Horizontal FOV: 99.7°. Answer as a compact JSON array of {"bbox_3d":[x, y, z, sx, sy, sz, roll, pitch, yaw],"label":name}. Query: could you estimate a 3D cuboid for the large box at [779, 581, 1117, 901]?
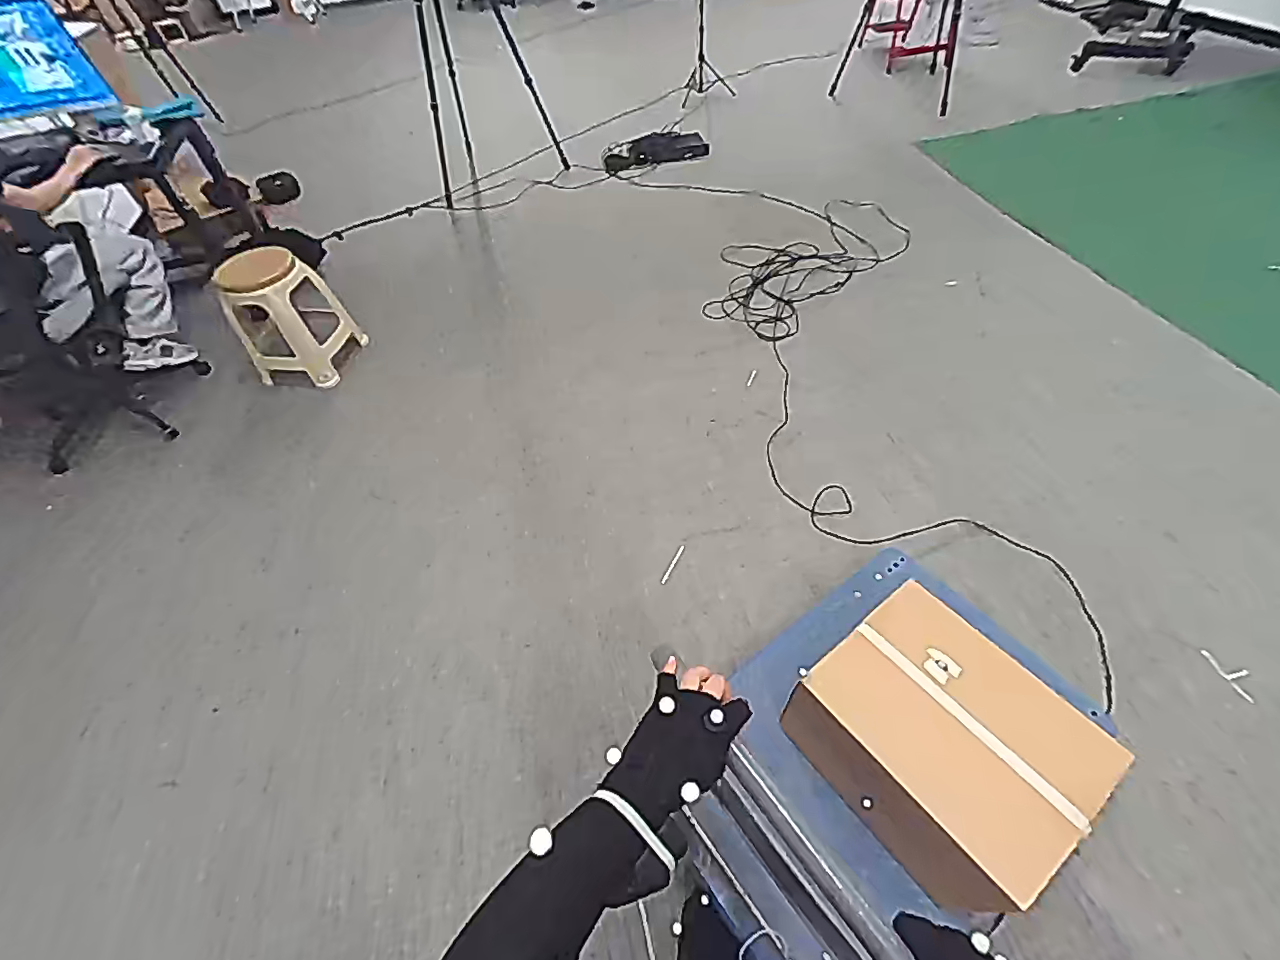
[{"bbox_3d":[0.526,0.481,1.018,0.320,0.320,0.408,-33,55,-19],"label":"large box"}]
